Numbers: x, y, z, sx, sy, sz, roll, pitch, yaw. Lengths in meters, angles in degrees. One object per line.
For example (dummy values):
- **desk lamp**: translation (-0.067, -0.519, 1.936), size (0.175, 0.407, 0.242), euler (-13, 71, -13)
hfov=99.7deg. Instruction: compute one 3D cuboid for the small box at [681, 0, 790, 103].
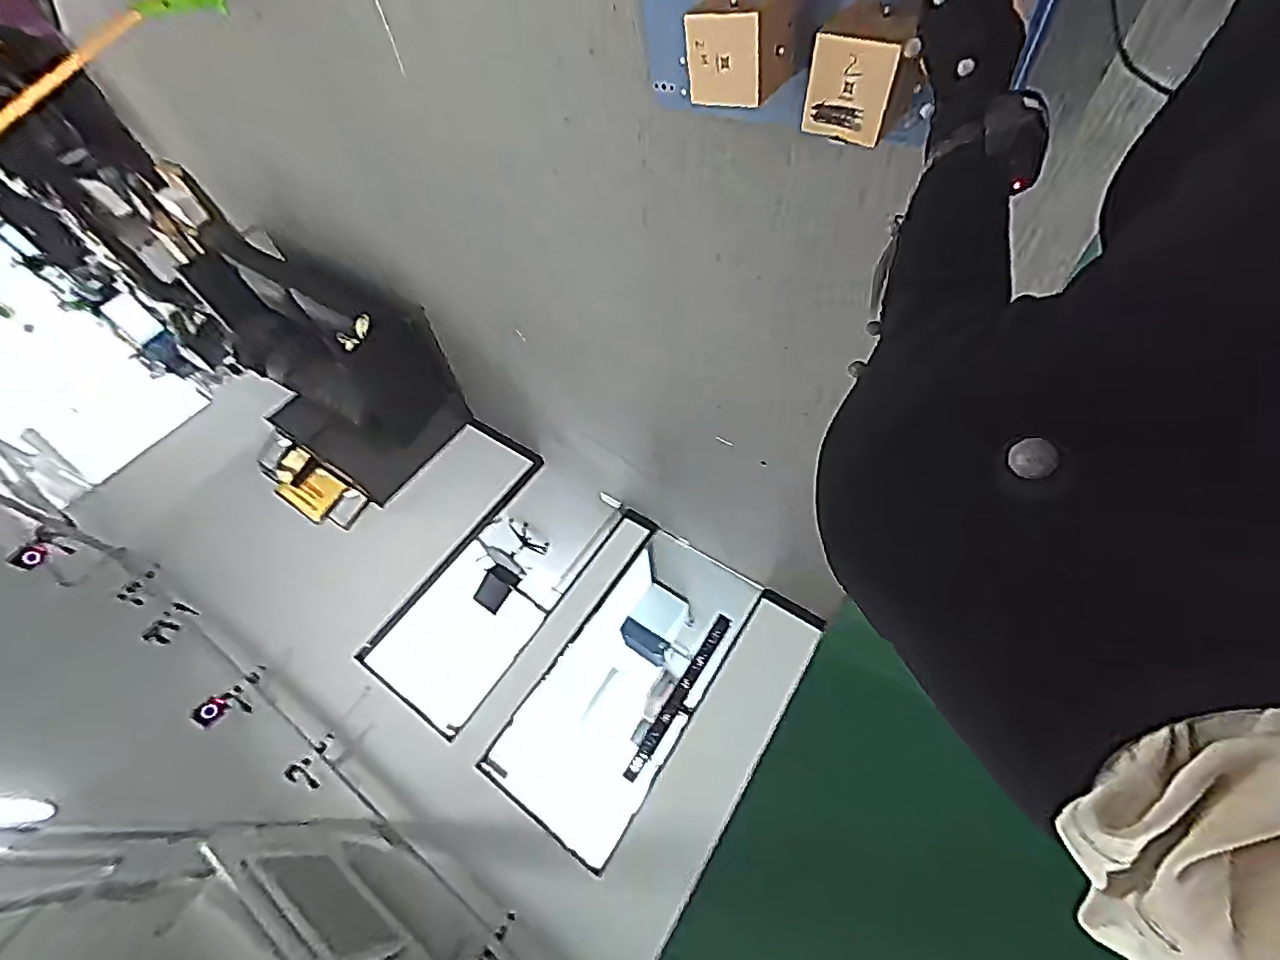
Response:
- **small box**: translation (0.213, -0.957, 1.180), size (0.179, 0.176, 0.168), euler (25, 152, 26)
